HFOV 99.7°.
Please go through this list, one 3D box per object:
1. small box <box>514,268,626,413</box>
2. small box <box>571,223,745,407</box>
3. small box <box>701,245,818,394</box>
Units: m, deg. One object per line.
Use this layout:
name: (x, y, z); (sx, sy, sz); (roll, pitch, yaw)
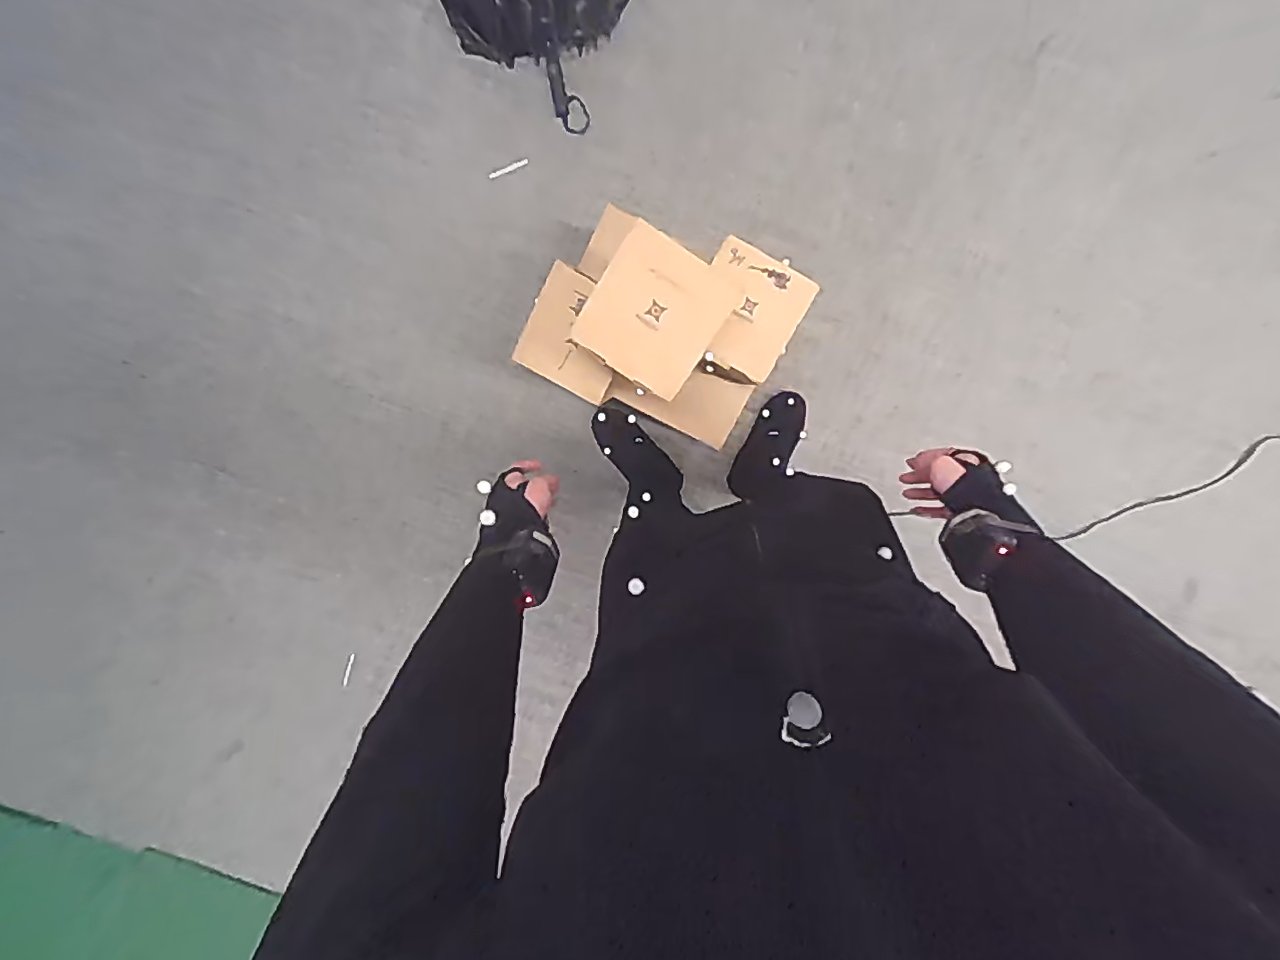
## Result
small box: (-0.091, -0.237, 0.941); (0.168, 0.176, 0.179); (30, 103, -2)
small box: (0.027, -0.221, 0.770); (0.168, 0.176, 0.179); (33, 99, -3)
small box: (0.171, -0.260, 0.921); (0.168, 0.176, 0.179); (29, 100, -1)
